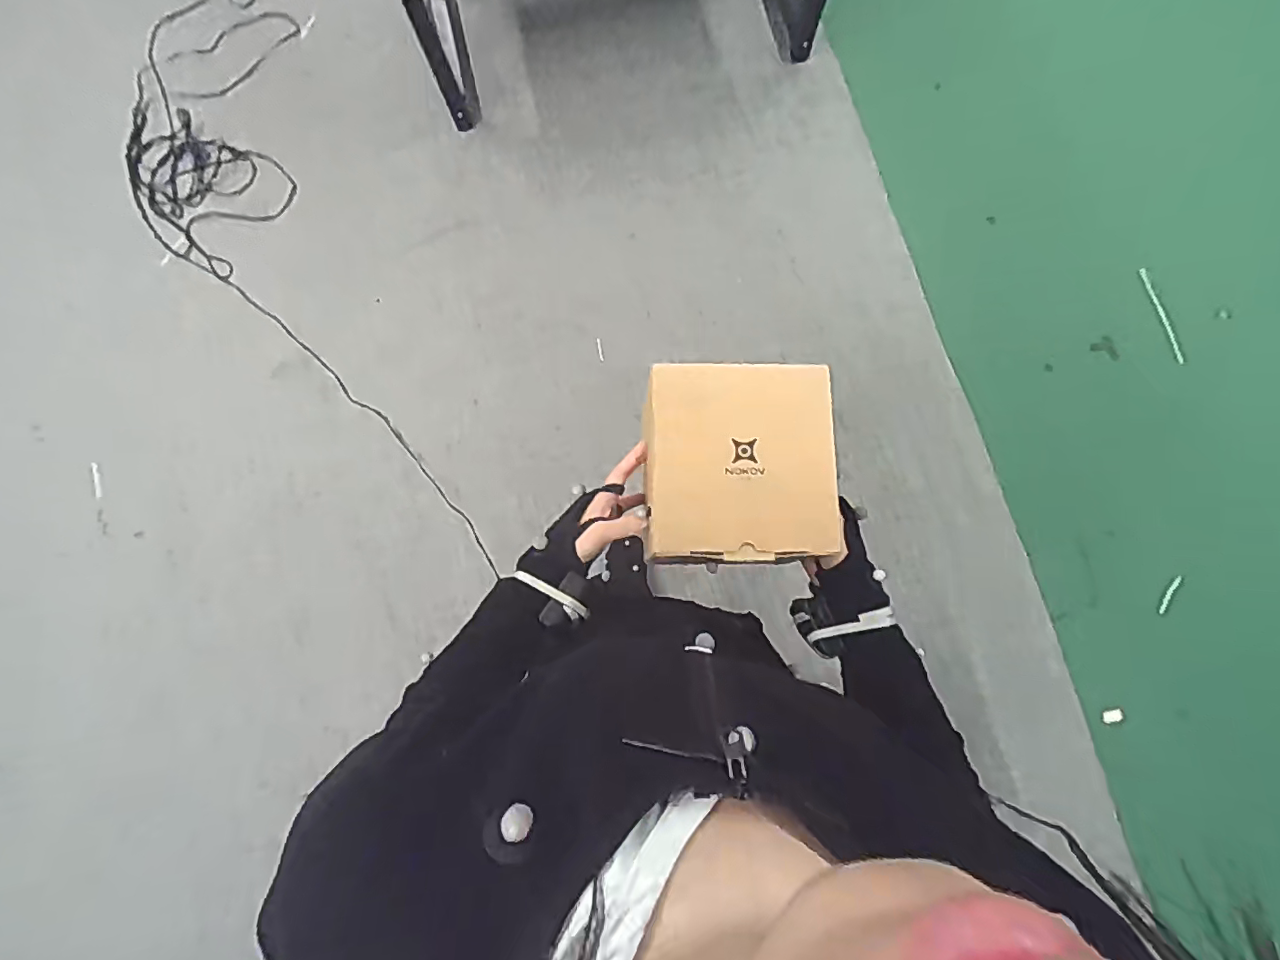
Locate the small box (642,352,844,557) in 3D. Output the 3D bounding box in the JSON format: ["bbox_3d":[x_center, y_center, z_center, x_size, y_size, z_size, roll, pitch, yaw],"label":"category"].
[{"bbox_3d":[0.088,-0.015,0.549,0.168,0.176,0.179,-1,80,-2],"label":"small box"}]
